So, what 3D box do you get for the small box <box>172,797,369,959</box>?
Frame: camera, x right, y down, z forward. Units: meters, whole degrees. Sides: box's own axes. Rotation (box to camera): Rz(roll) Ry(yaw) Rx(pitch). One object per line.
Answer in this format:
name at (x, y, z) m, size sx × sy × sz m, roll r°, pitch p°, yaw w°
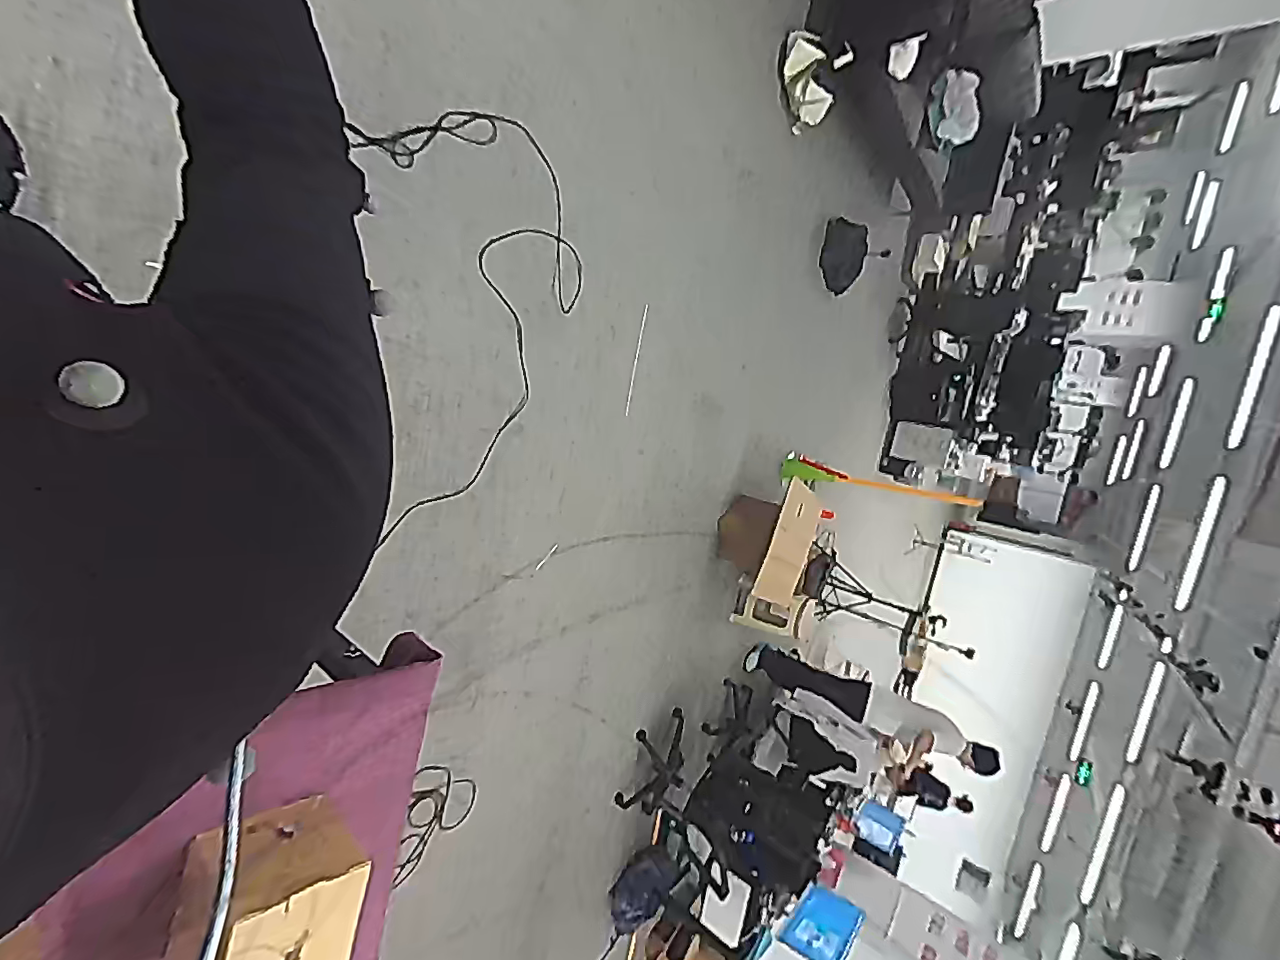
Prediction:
small box at (-0.510, 0.586, 0.744) m, size 0.168 × 0.176 × 0.179 m, roll 11°, pitch 94°, yaw -54°
